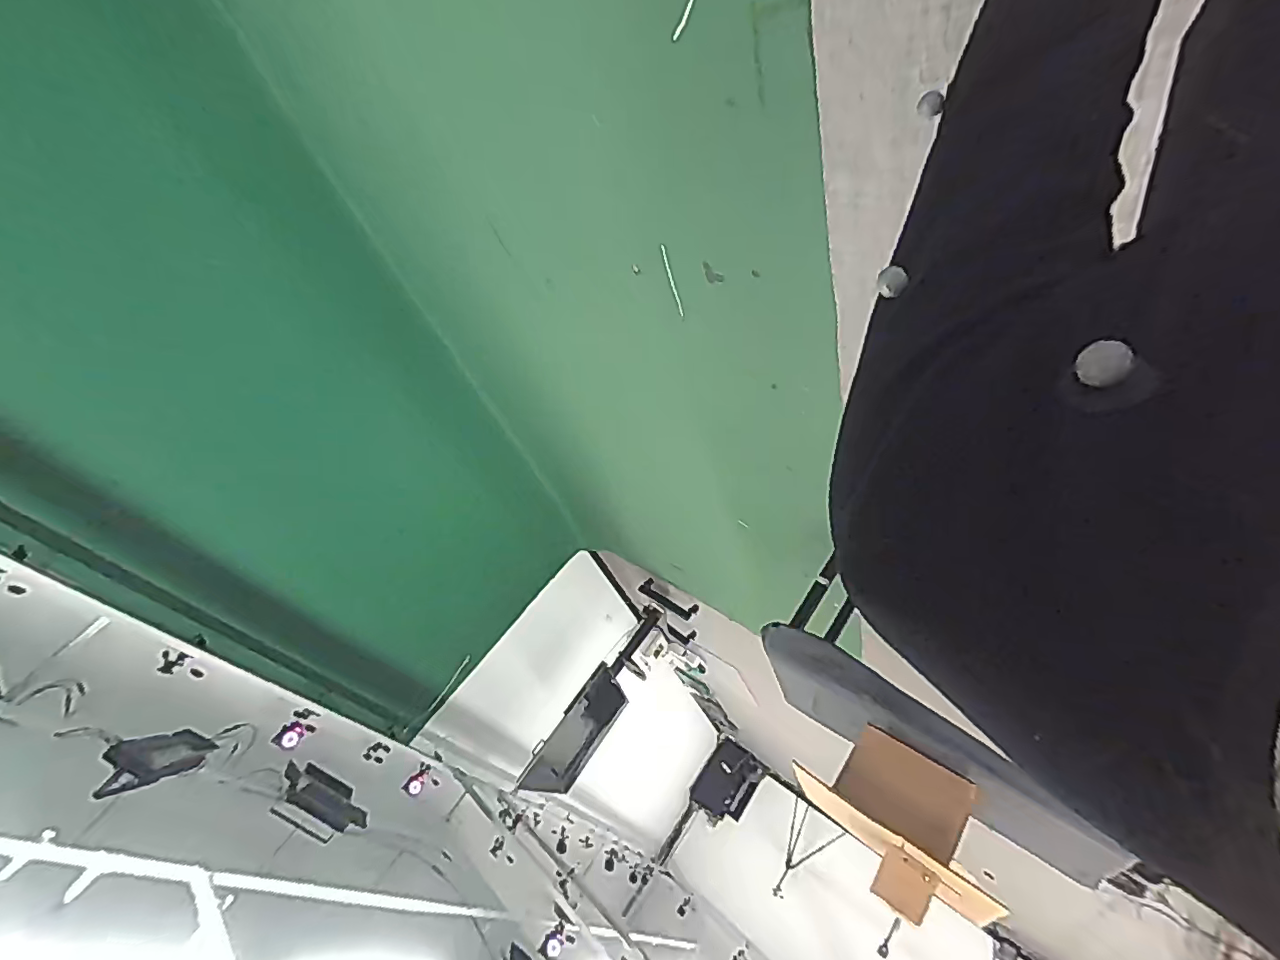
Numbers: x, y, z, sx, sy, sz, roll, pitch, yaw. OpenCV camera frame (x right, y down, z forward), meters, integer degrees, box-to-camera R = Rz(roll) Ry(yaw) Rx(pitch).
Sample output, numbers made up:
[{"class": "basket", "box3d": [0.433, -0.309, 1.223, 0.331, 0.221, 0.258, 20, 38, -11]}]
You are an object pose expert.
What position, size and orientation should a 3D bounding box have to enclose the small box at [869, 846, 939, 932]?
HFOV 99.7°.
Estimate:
[{"class": "small box", "box3d": [0.897, 1.383, 1.836, 0.168, 0.176, 0.179, 23, 152, 38]}]
